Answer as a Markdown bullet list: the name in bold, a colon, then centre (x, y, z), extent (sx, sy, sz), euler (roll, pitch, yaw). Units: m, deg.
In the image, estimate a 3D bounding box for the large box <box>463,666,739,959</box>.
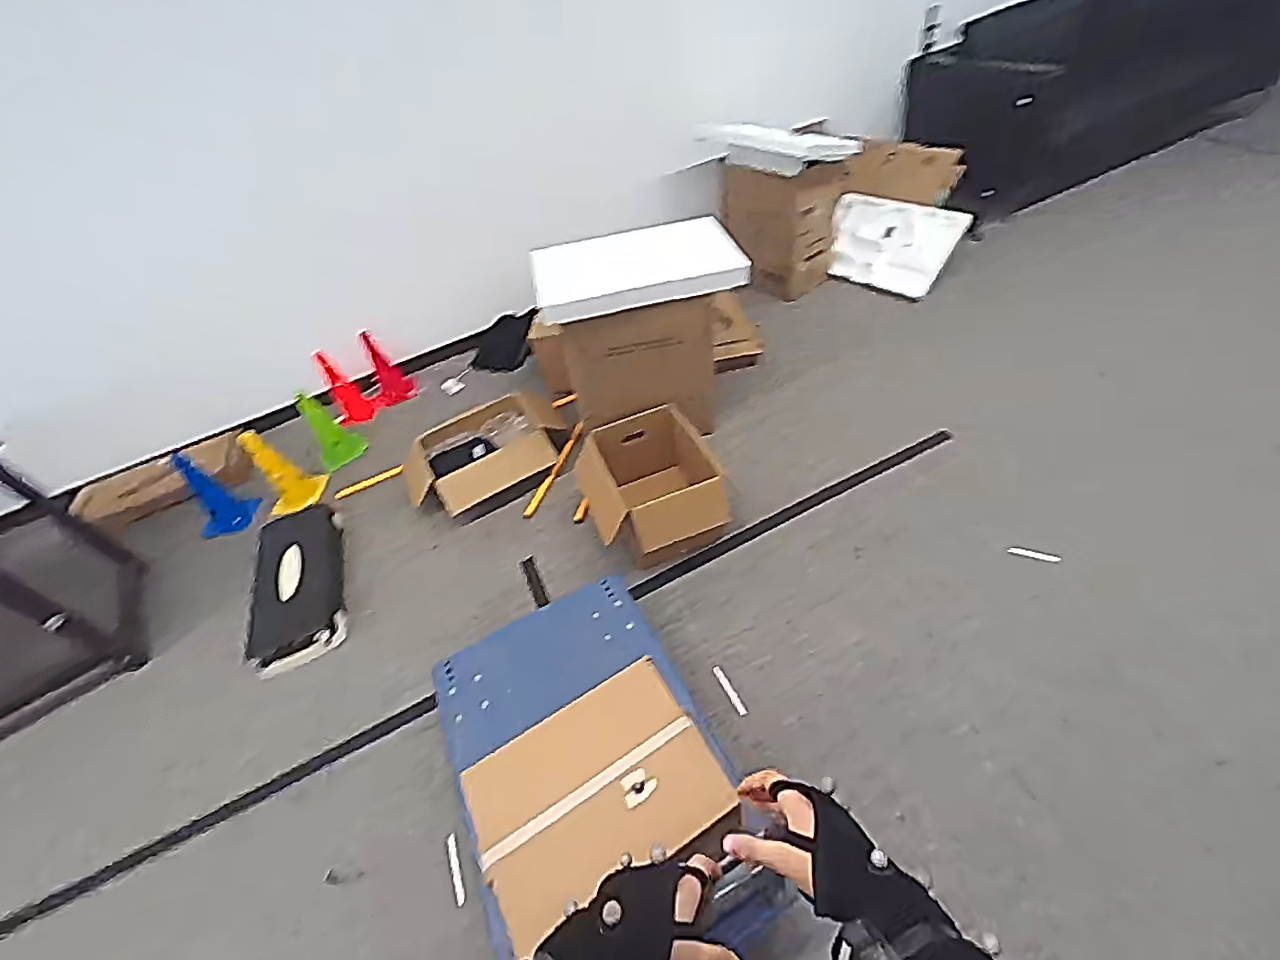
- **large box**: centre (-0.059, 0.652, 1.039), extent (0.408, 0.320, 0.320), euler (-28, 47, -17)
